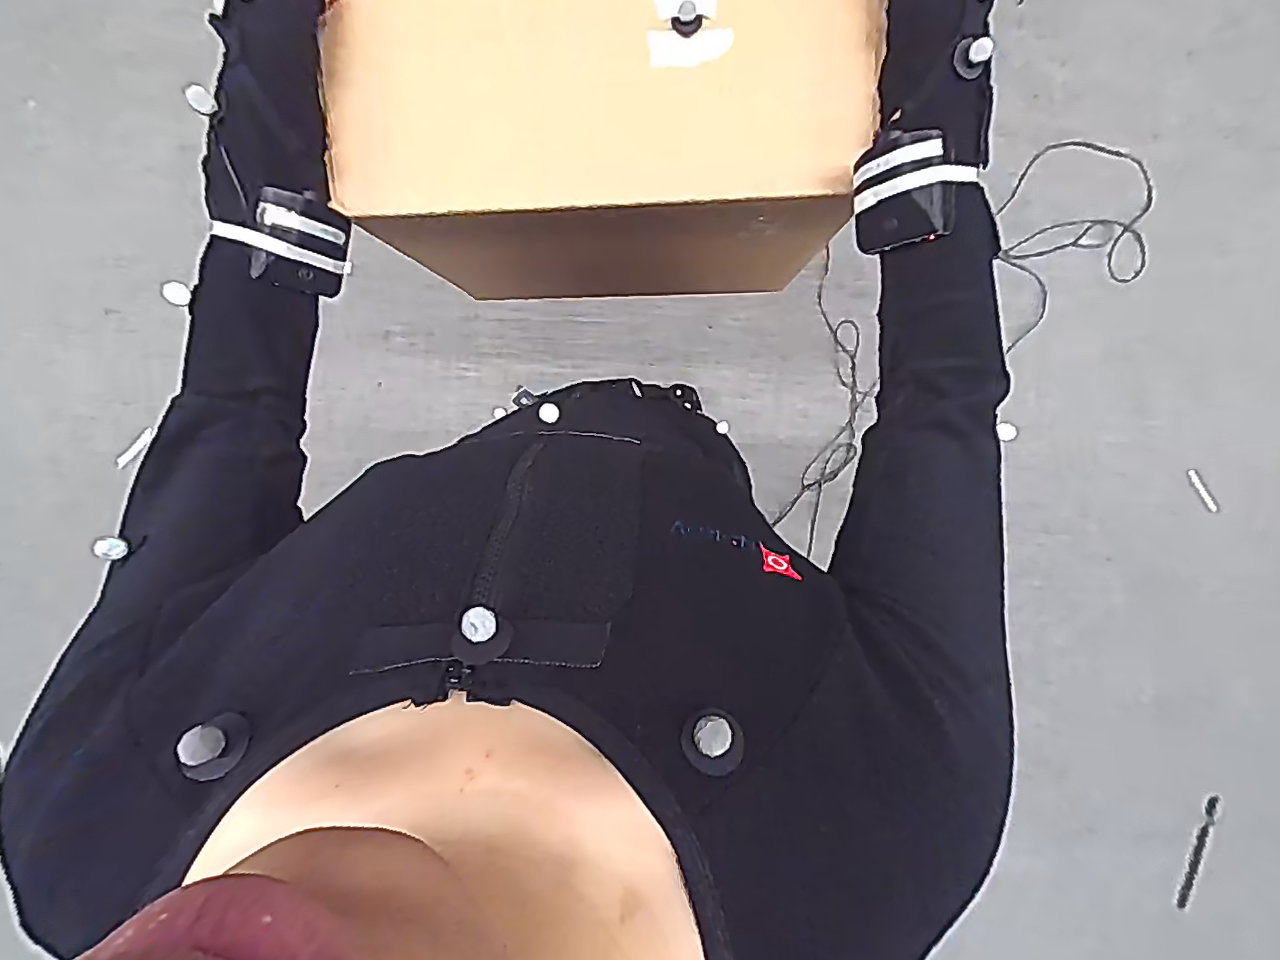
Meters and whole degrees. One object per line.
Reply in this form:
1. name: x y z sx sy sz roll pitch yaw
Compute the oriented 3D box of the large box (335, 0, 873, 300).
1. large box: -0.027 -0.382 0.544 0.408 0.320 0.320 -2 97 2
